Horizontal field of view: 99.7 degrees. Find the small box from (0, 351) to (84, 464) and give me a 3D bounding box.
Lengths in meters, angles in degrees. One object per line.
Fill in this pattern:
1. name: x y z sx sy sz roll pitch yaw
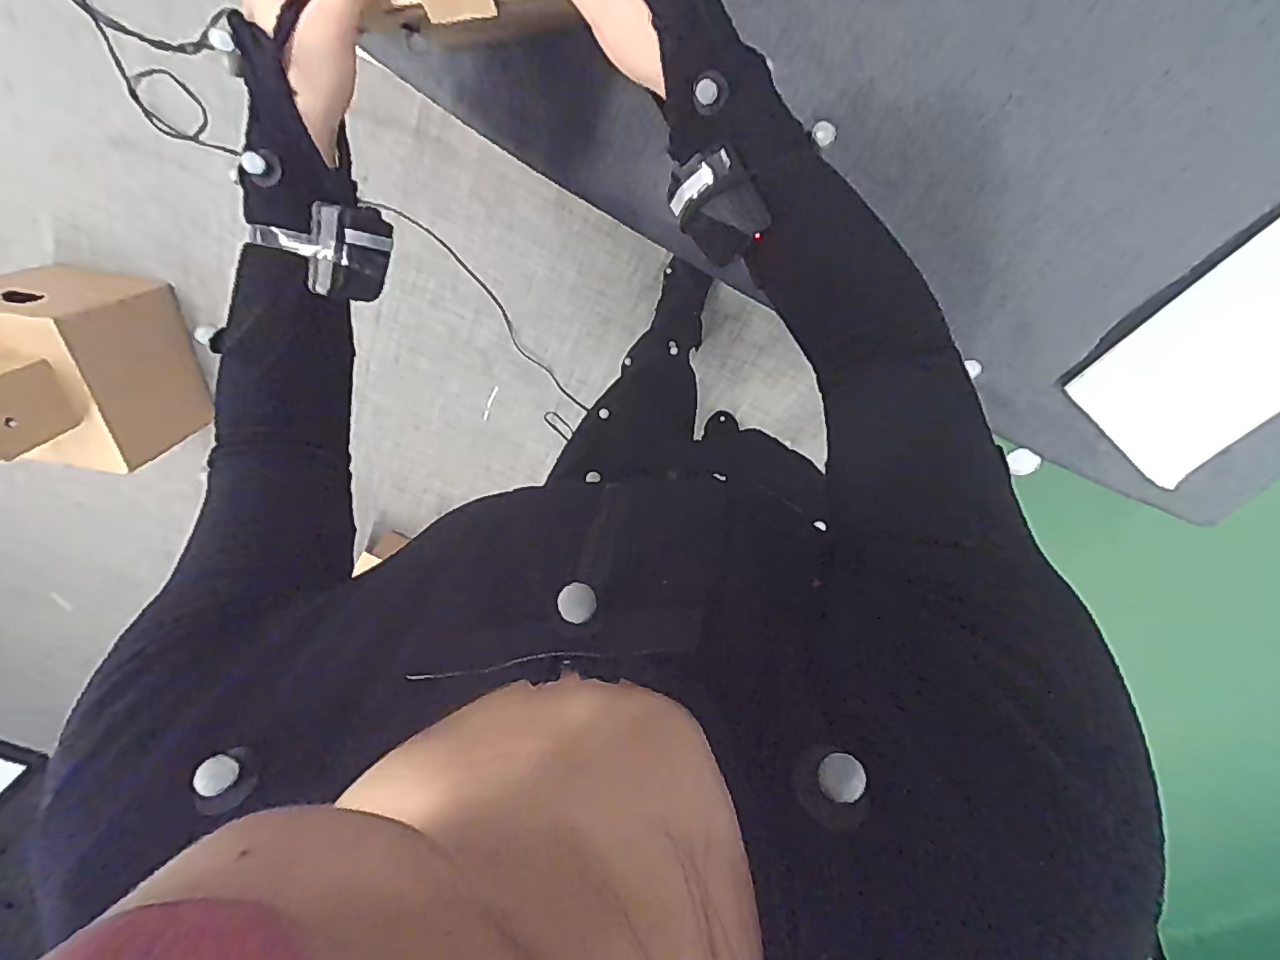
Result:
1. small box: -1.396 -0.162 1.181 0.168 0.176 0.179 9 123 -1
